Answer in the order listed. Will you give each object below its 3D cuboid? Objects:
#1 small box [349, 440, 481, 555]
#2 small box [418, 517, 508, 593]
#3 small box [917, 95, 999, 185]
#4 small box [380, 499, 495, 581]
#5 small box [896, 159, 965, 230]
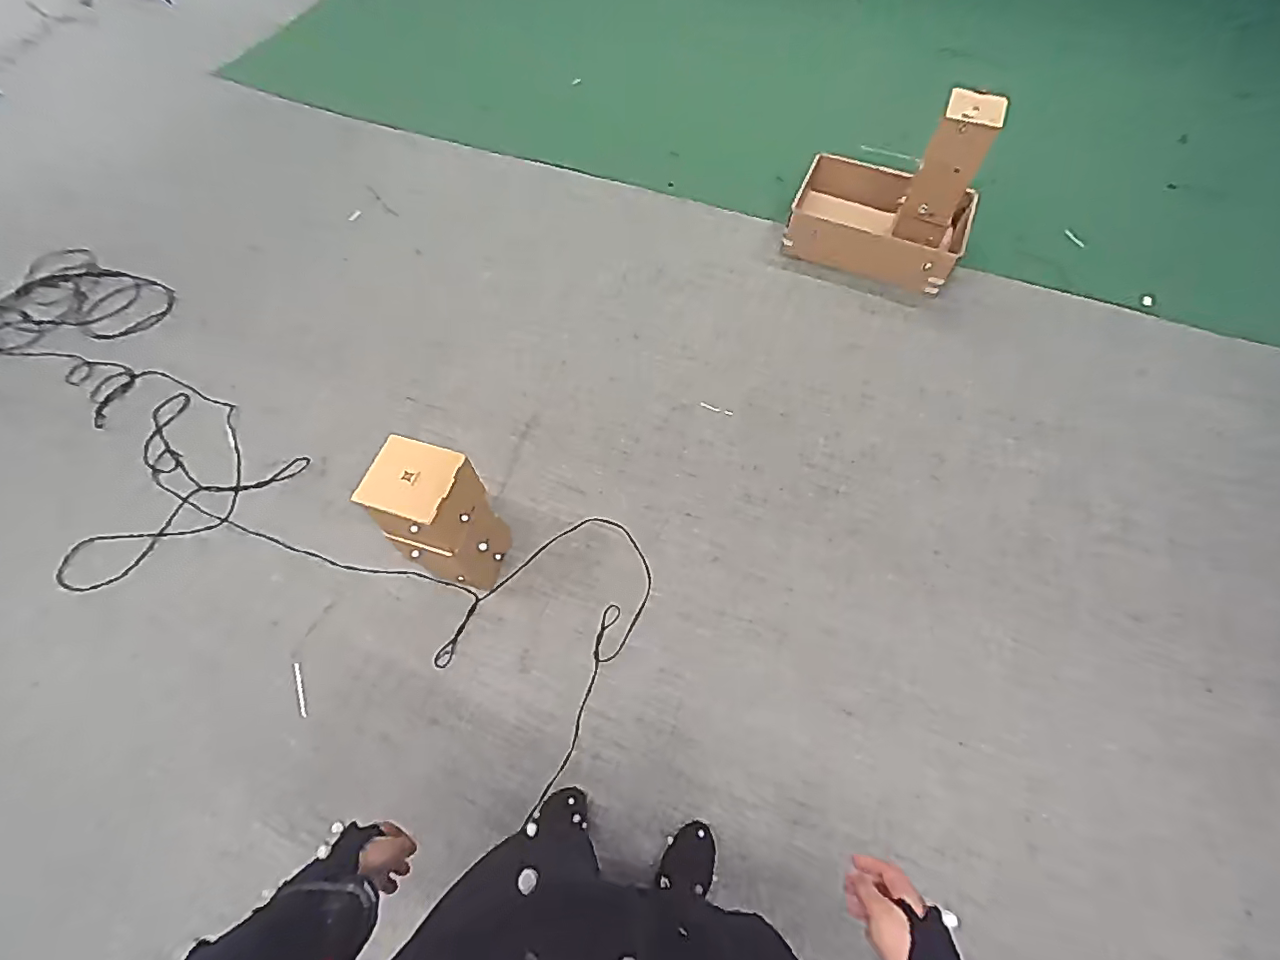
[{"bbox_3d":[-0.469,0.043,1.157,0.179,0.176,0.168,15,62,7],"label":"small box"},{"bbox_3d":[-0.474,0.190,1.448,0.179,0.176,0.168,12,61,7],"label":"small box"},{"bbox_3d":[1.012,-1.086,1.729,0.168,0.176,0.179,20,63,12],"label":"small box"},{"bbox_3d":[-0.475,0.126,1.297,0.179,0.176,0.168,16,62,8],"label":"small box"},{"bbox_3d":[1.014,-1.008,1.873,0.168,0.176,0.179,22,65,13],"label":"small box"}]
